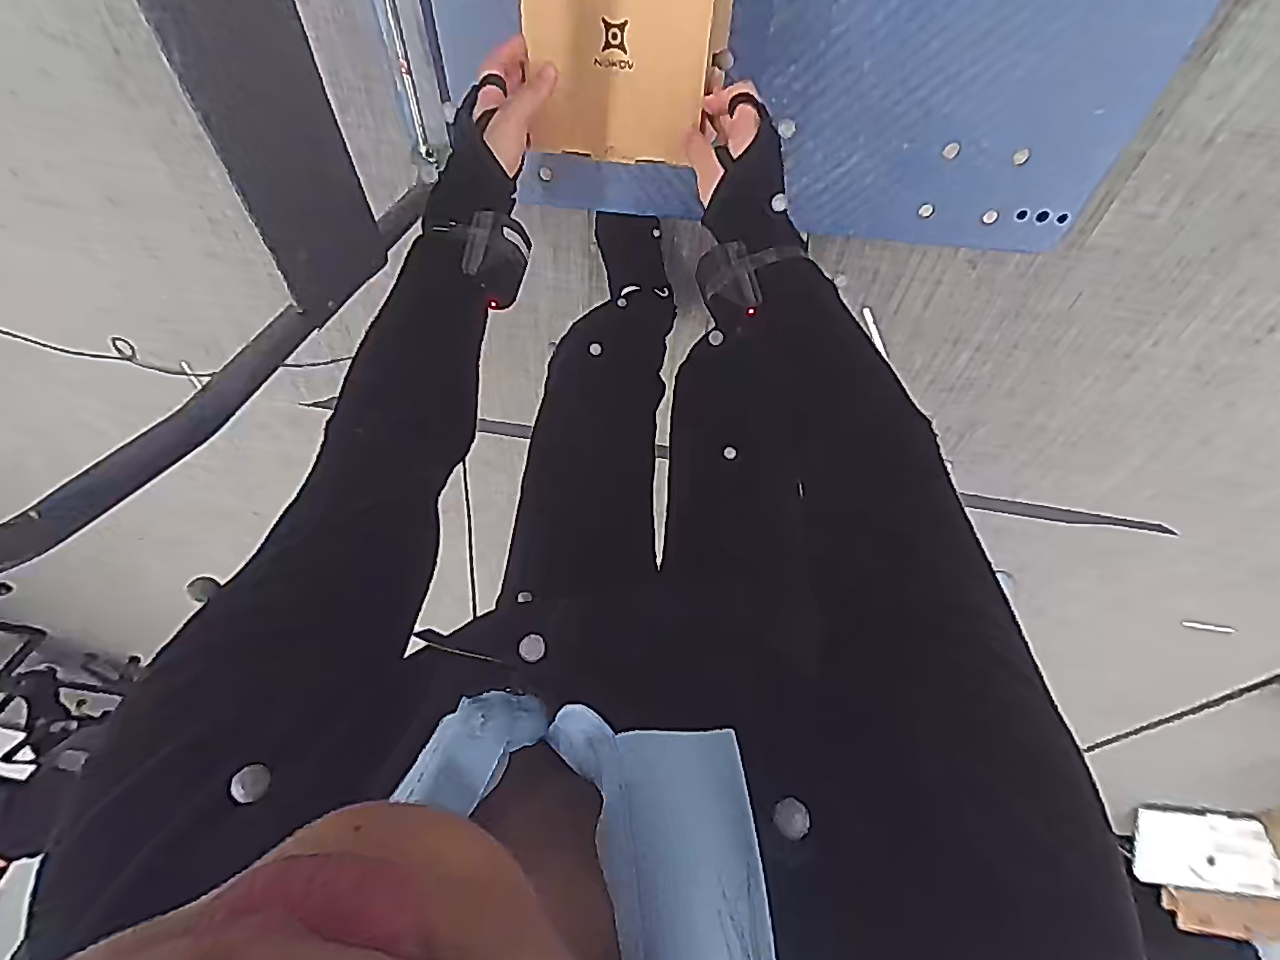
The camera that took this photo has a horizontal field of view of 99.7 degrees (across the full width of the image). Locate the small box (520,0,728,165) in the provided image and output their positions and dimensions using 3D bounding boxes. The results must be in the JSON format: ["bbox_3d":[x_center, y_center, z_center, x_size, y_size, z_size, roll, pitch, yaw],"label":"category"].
[{"bbox_3d":[-0.008,-0.425,0.519,0.168,0.176,0.179,9,133,7],"label":"small box"}]

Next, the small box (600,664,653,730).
[{"bbox_3d":[-0.047,0.804,2.003,0.168,0.176,0.179,10,139,-2],"label":"small box"}]
